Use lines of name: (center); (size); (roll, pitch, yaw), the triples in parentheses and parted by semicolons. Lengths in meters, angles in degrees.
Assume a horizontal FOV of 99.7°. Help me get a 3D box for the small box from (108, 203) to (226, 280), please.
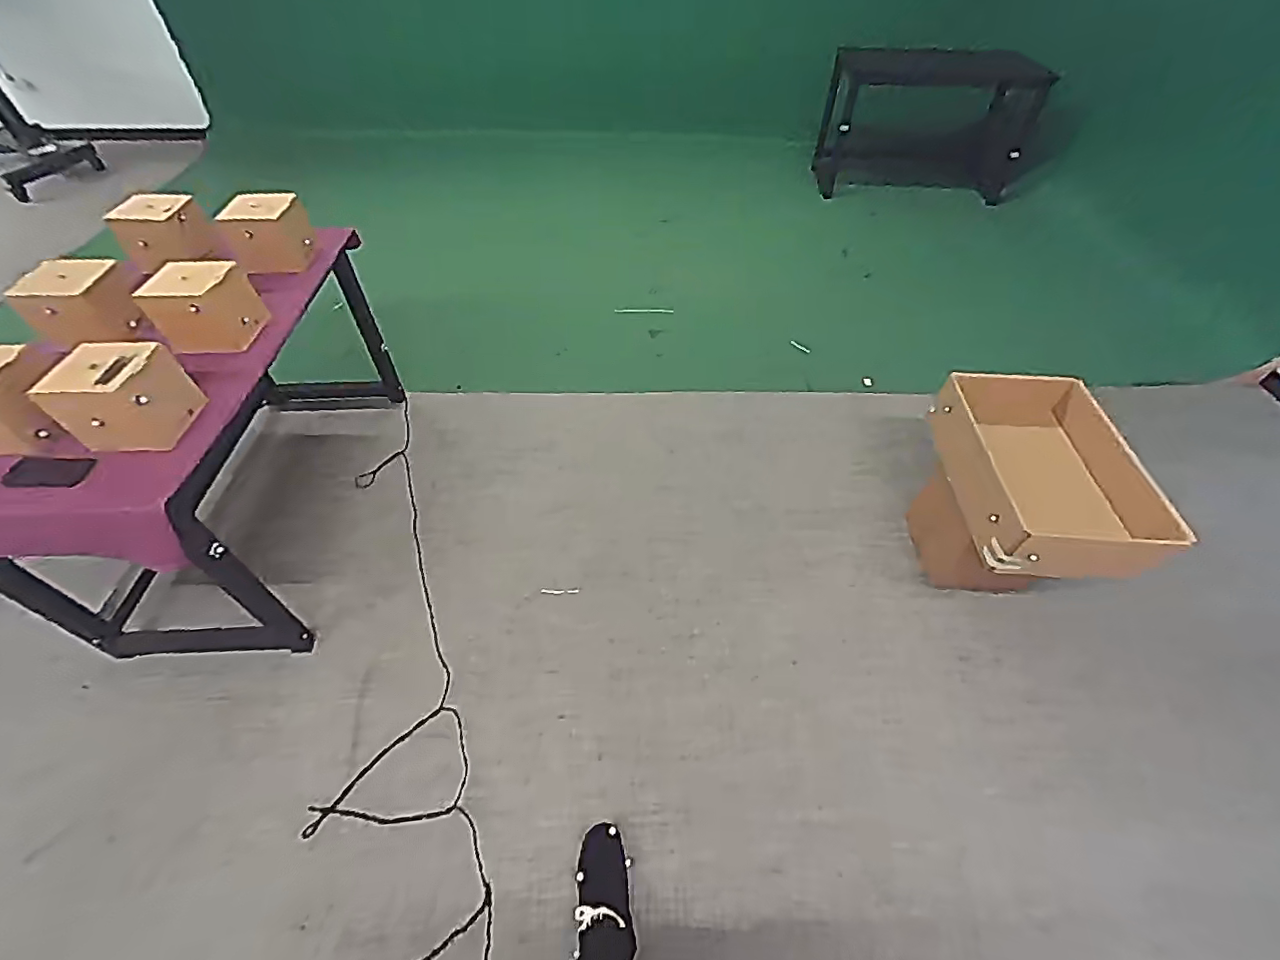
small box: (-1.433, -0.726, 1.654); (0.179, 0.176, 0.168); (-1, 51, 0)

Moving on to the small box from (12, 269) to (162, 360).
small box: (-1.420, -0.427, 1.405); (0.179, 0.176, 0.168); (-2, 51, -2)

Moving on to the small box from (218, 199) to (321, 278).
small box: (-1.124, -0.736, 1.655); (0.179, 0.176, 0.168); (-2, 51, -2)

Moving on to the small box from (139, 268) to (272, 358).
small box: (-1.113, -0.429, 1.403); (0.179, 0.176, 0.168); (-1, 50, 0)

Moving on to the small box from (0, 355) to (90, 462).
small box: (-1.378, -0.151, 1.170); (0.179, 0.176, 0.168); (-3, 50, -1)
